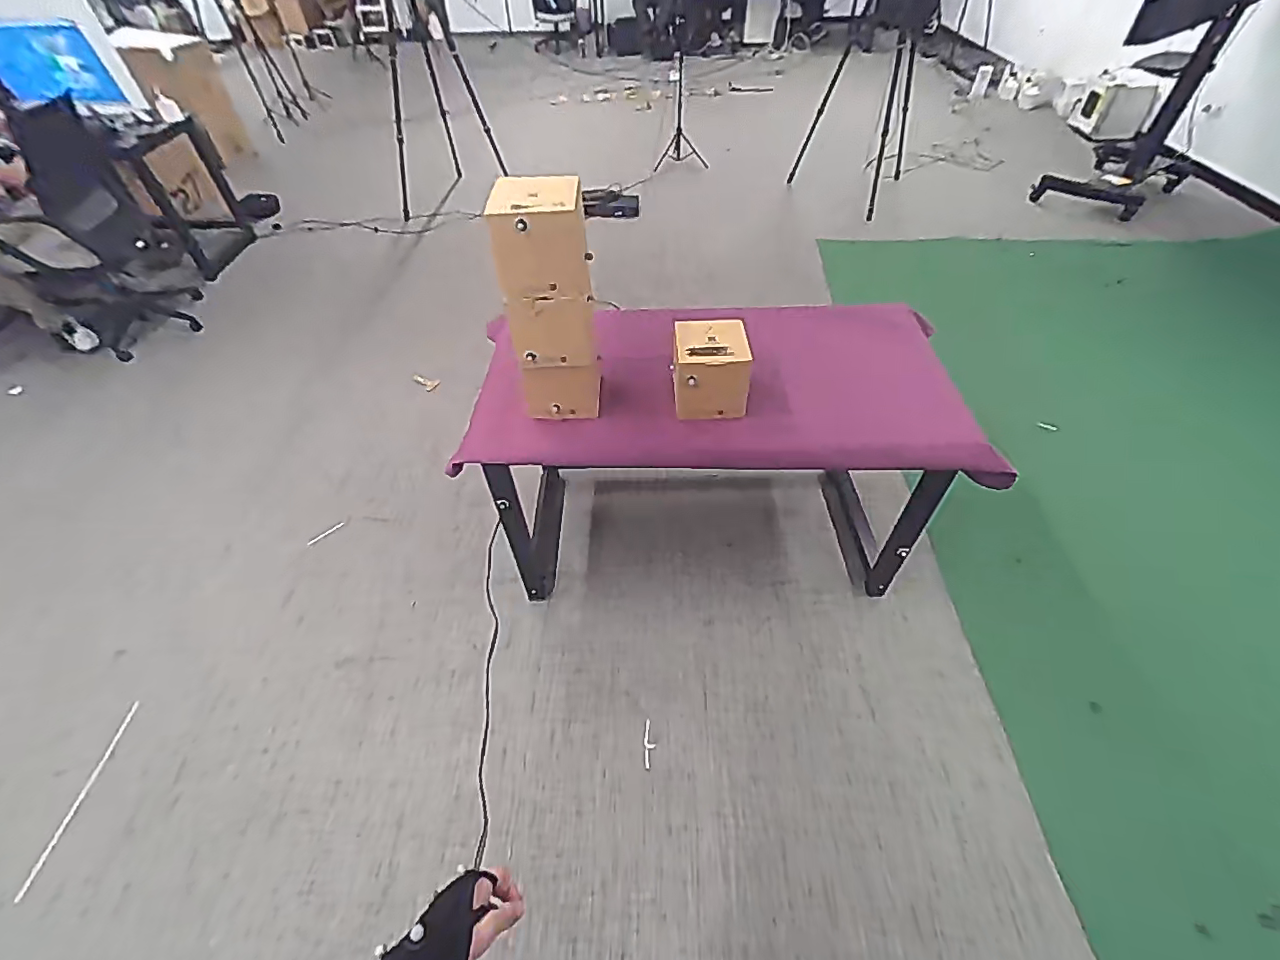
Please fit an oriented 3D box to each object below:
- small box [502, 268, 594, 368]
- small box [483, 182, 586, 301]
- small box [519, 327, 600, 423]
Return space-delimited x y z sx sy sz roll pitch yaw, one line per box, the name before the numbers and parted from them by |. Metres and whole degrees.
small box | -0.195 -0.361 1.198 0.168 0.176 0.179 -2 47 1
small box | -0.200 -0.476 1.082 0.168 0.176 0.179 -3 47 1
small box | -0.190 -0.257 1.325 0.168 0.176 0.179 -2 49 1
